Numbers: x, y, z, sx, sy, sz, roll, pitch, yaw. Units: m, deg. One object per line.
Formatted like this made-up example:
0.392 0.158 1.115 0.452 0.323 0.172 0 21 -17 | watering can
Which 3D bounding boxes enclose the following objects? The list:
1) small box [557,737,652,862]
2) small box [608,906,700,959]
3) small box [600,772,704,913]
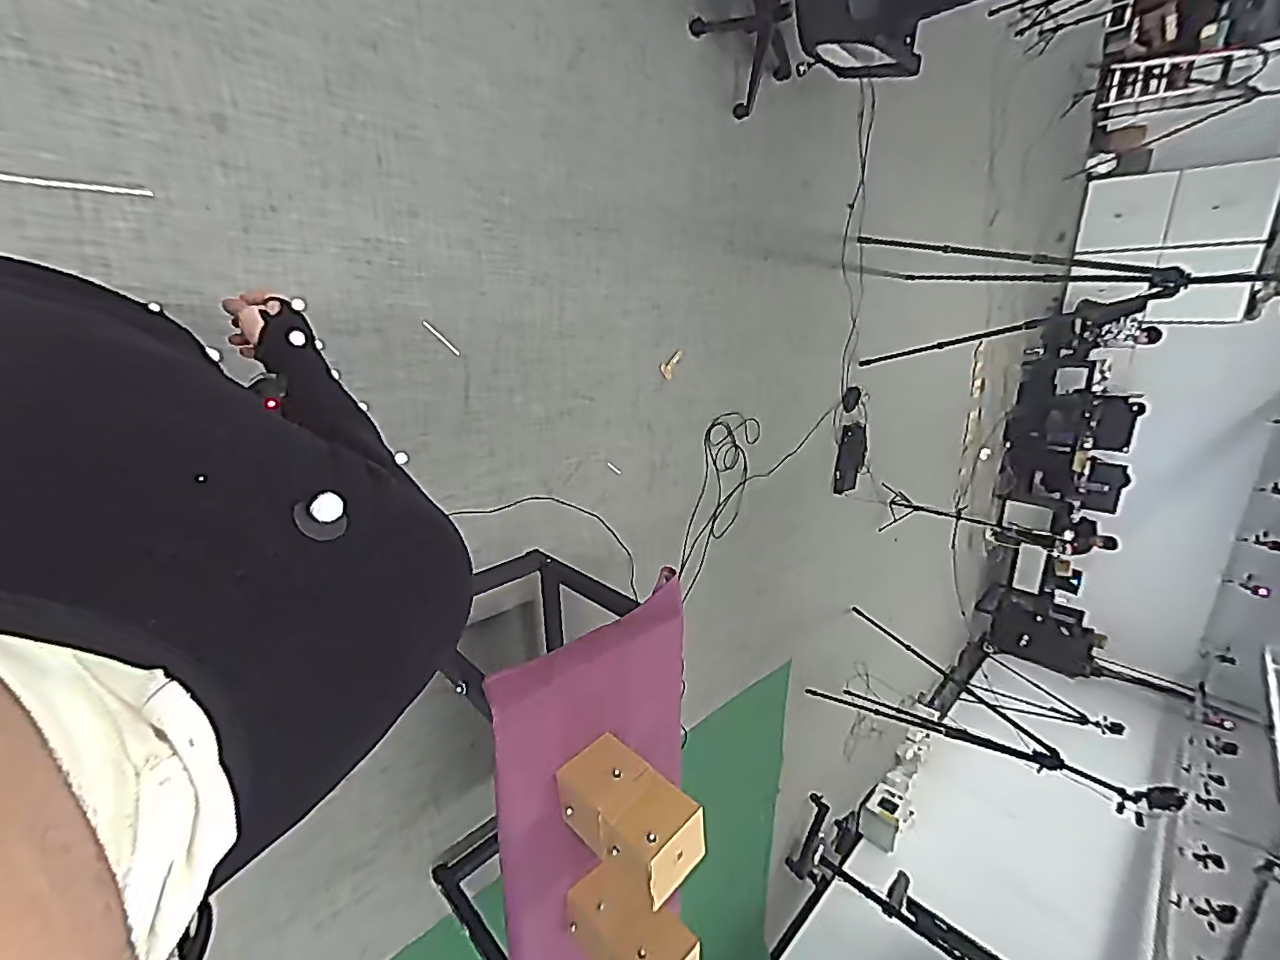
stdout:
-0.086 0.793 1.365 0.179 0.176 0.168 -20 115 -40 | small box
0.030 1.237 1.373 0.179 0.176 0.168 -12 110 -42 | small box
0.029 0.827 1.256 0.179 0.176 0.168 -23 117 -38 | small box
